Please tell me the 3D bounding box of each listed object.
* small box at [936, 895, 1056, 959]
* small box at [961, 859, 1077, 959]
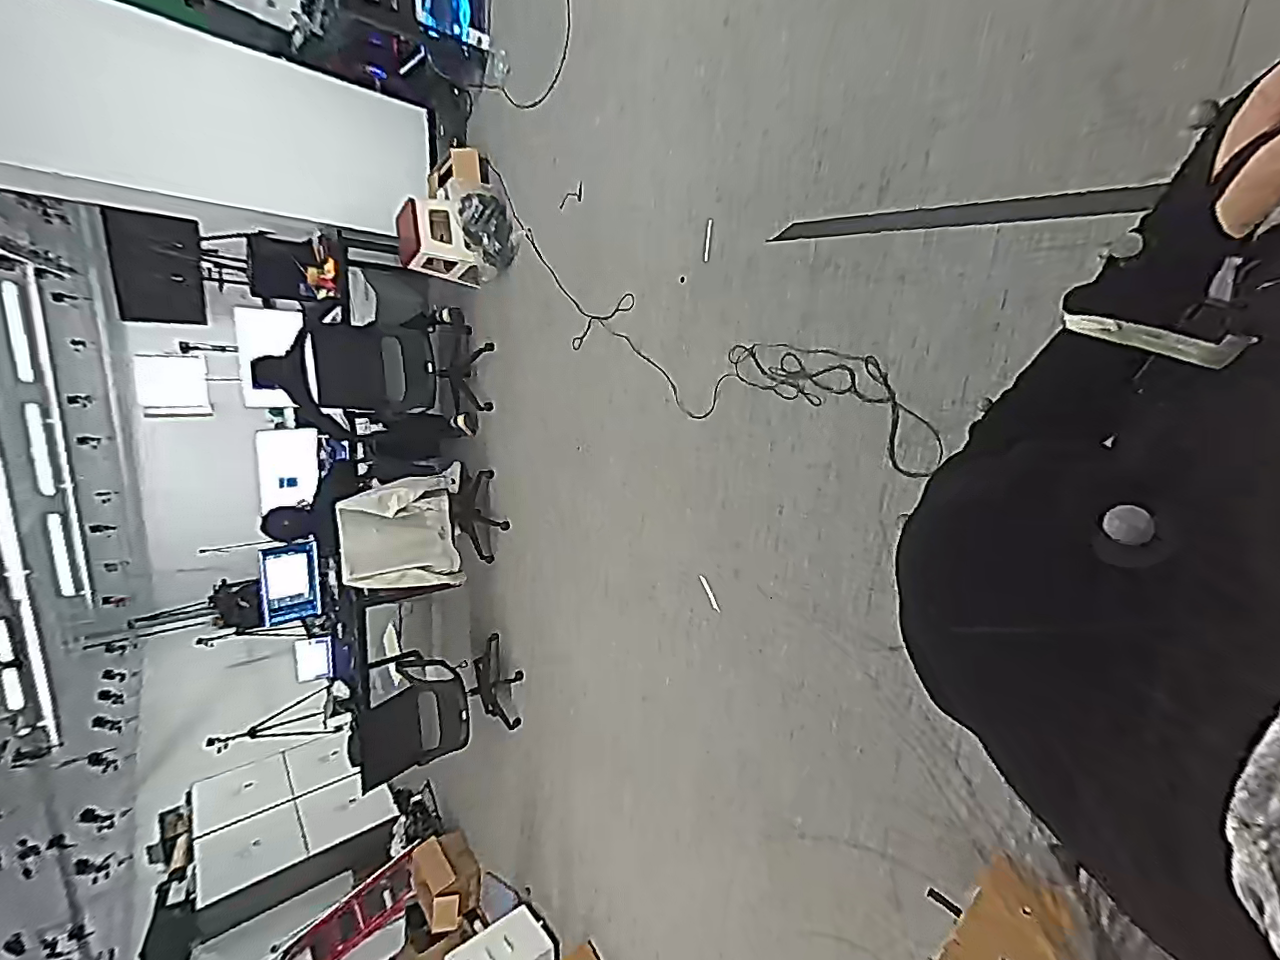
[{"bbox_3d":[0.805,1.110,1.229,0.179,0.176,0.168,33,119,42],"label":"small box"},{"bbox_3d":[0.929,1.085,1.334,0.179,0.176,0.168,29,117,43],"label":"small box"}]
